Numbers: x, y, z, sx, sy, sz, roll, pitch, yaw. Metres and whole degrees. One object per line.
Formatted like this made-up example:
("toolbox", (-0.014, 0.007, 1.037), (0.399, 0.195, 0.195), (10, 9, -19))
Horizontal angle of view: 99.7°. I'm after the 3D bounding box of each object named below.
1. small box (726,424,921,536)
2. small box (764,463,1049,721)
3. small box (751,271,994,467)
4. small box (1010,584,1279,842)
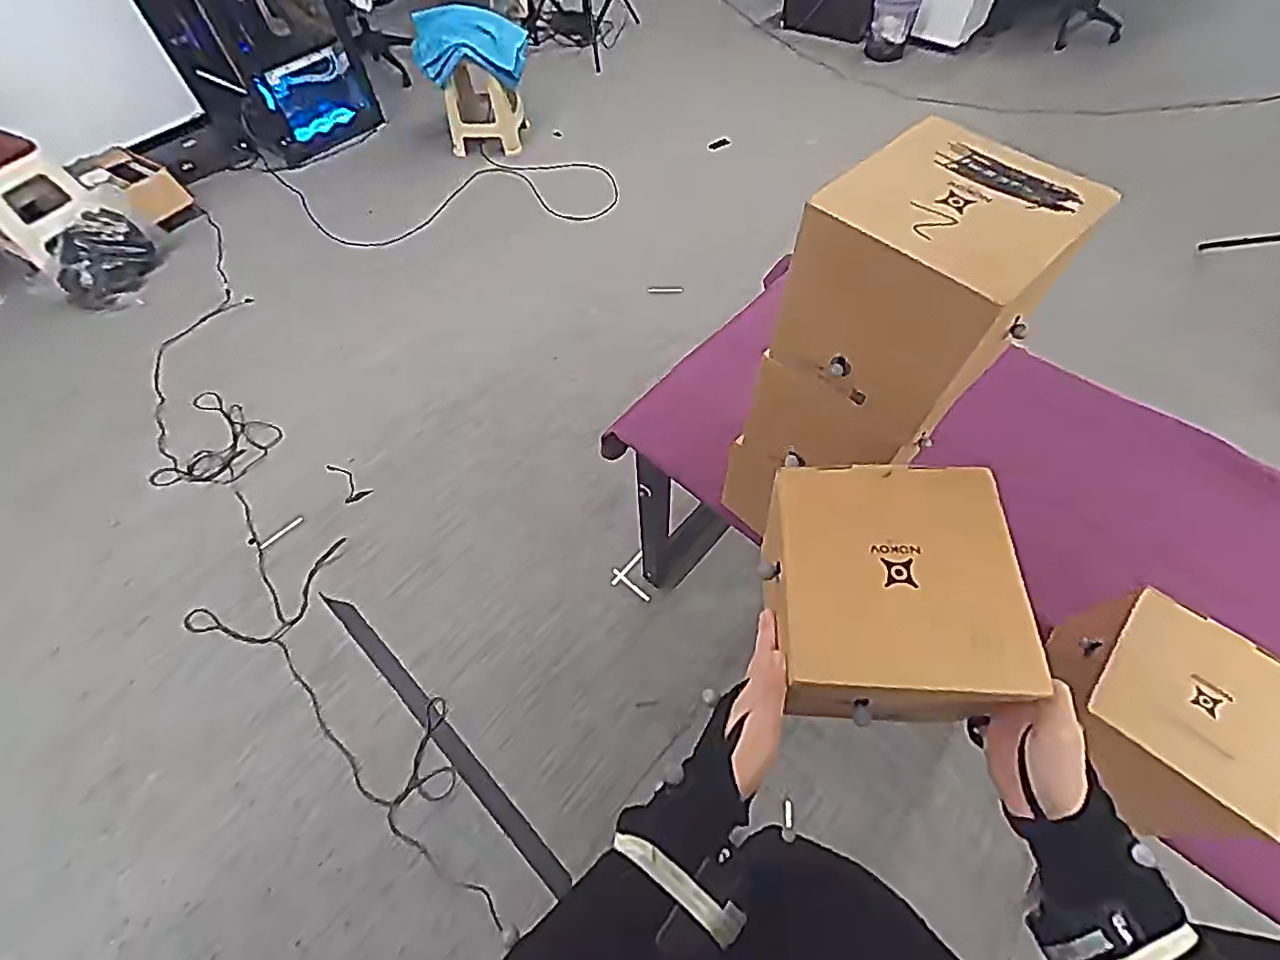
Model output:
("small box", (0.242, -0.006, 0.758), (0.168, 0.176, 0.179), (-39, 65, -20))
("small box", (0.198, 0.102, 0.465), (0.168, 0.176, 0.179), (0, 59, 8))
("small box", (0.246, -0.095, 0.619), (0.179, 0.176, 0.168), (-41, 66, -19))
("small box", (0.554, 0.252, 0.592), (0.168, 0.176, 0.179), (37, 68, 23))
